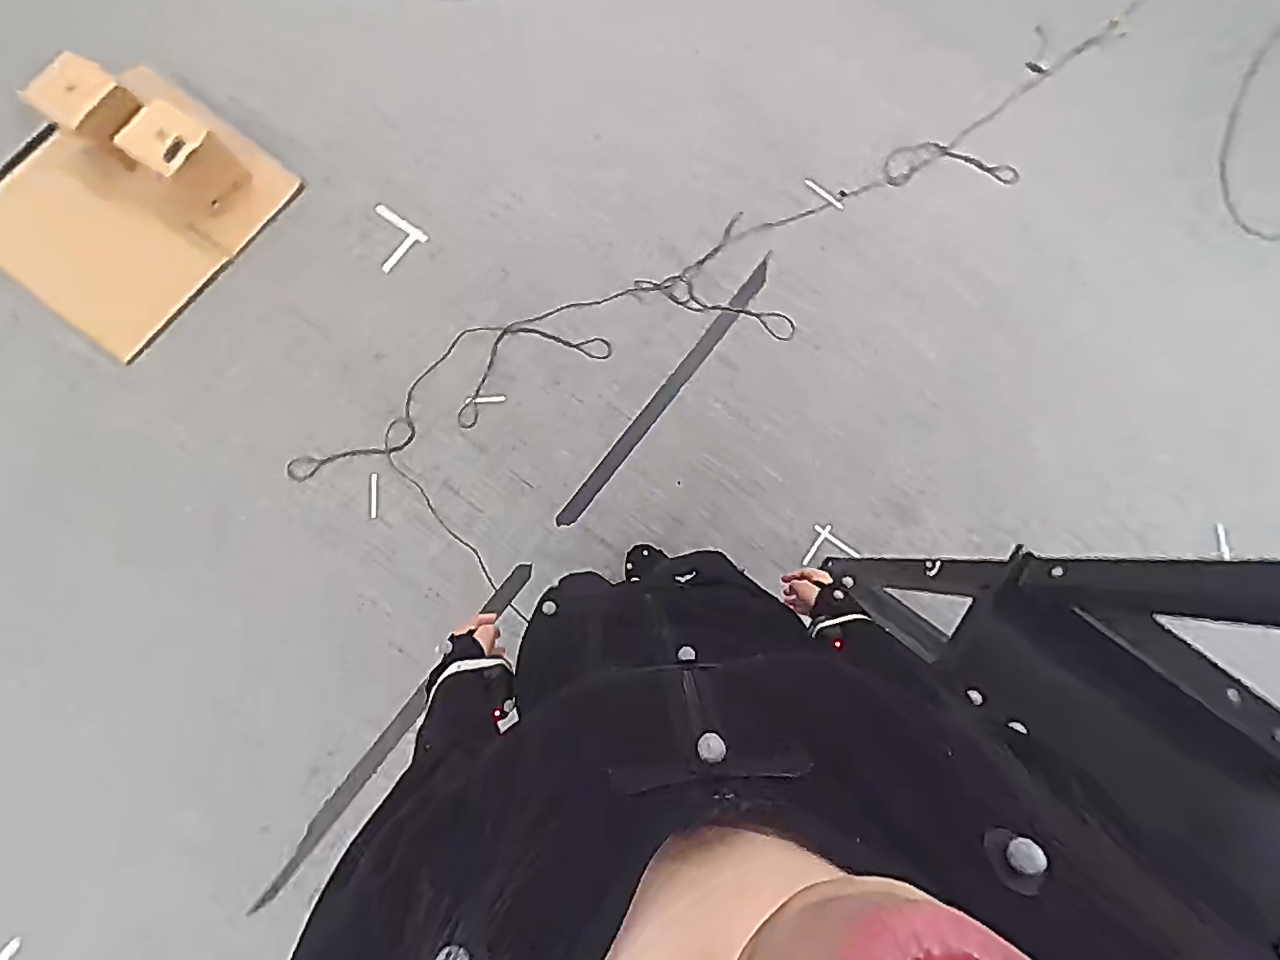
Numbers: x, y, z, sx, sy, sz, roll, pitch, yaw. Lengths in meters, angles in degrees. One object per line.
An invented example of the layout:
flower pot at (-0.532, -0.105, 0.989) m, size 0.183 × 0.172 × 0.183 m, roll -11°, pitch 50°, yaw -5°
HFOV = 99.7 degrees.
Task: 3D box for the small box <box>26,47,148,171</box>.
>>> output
small box at (-1.438, -0.986, 1.450) m, size 0.168 × 0.176 × 0.179 m, roll 31°, pitch 82°, yaw 2°

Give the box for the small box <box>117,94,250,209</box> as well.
small box at (-1.207, -0.866, 1.448) m, size 0.179 × 0.176 × 0.168 m, roll 34°, pitch 81°, yaw 1°
